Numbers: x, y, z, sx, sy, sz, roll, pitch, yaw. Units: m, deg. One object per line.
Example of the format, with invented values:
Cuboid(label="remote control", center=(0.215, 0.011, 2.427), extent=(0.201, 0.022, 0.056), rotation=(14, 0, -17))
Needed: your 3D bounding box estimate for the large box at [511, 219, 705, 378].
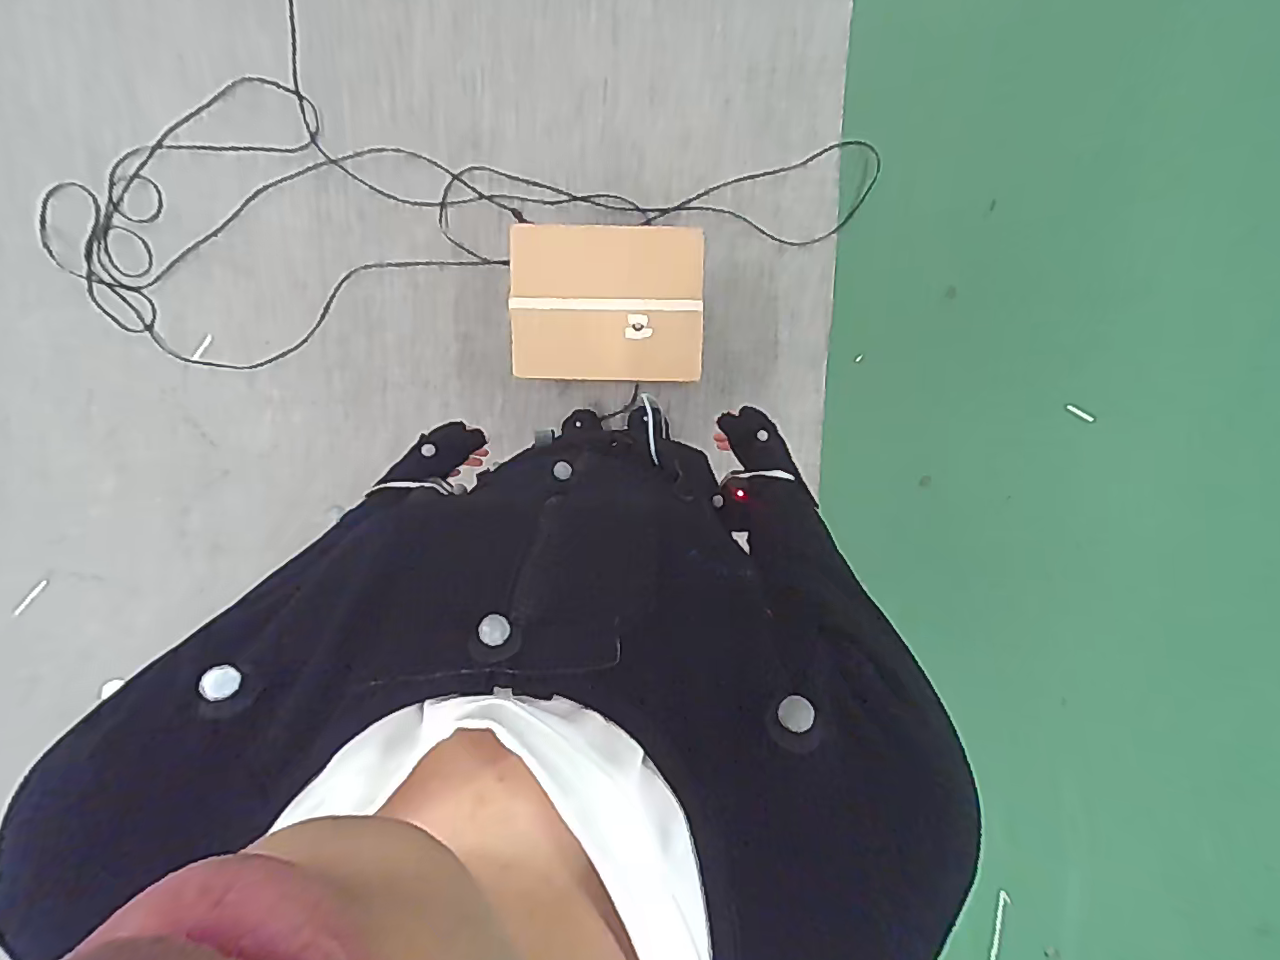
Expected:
Cuboid(label="large box", center=(-0.068, -0.402, 1.273), extent=(0.408, 0.320, 0.320), rotation=(1, 100, 0))
